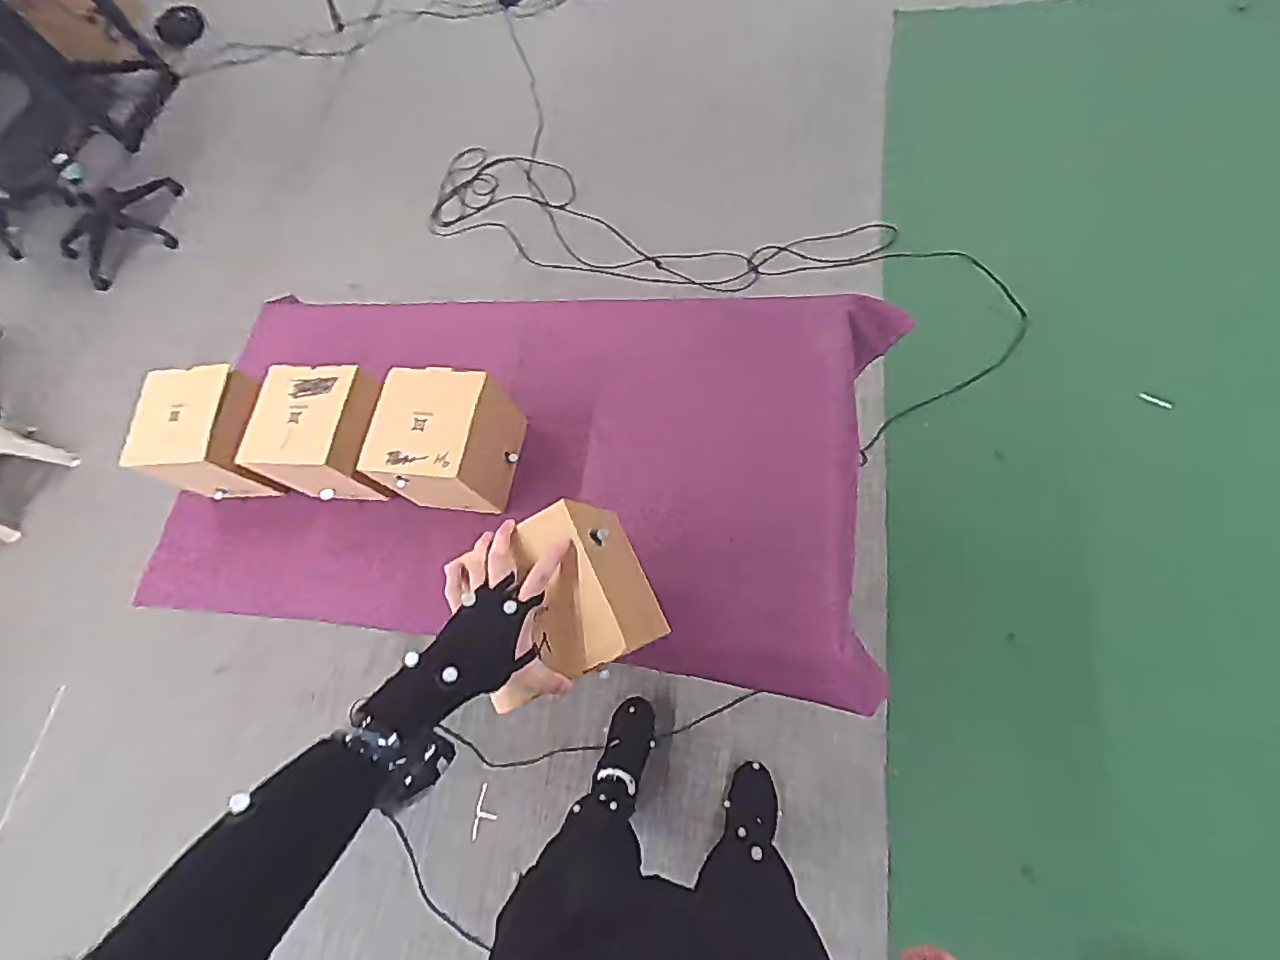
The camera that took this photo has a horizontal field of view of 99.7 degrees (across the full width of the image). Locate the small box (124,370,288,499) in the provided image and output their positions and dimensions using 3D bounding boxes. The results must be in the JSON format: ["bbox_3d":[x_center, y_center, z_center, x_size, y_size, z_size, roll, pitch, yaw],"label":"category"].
[{"bbox_3d":[-0.747,-0.076,0.972,0.168,0.176,0.179,-2,69,12],"label":"small box"}]

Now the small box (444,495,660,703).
[{"bbox_3d":[-0.097,0.138,0.650,0.168,0.176,0.179,-27,75,12],"label":"small box"}]

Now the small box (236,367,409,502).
[{"bbox_3d":[-0.525,-0.075,0.924,0.168,0.176,0.179,2,70,13],"label":"small box"}]
